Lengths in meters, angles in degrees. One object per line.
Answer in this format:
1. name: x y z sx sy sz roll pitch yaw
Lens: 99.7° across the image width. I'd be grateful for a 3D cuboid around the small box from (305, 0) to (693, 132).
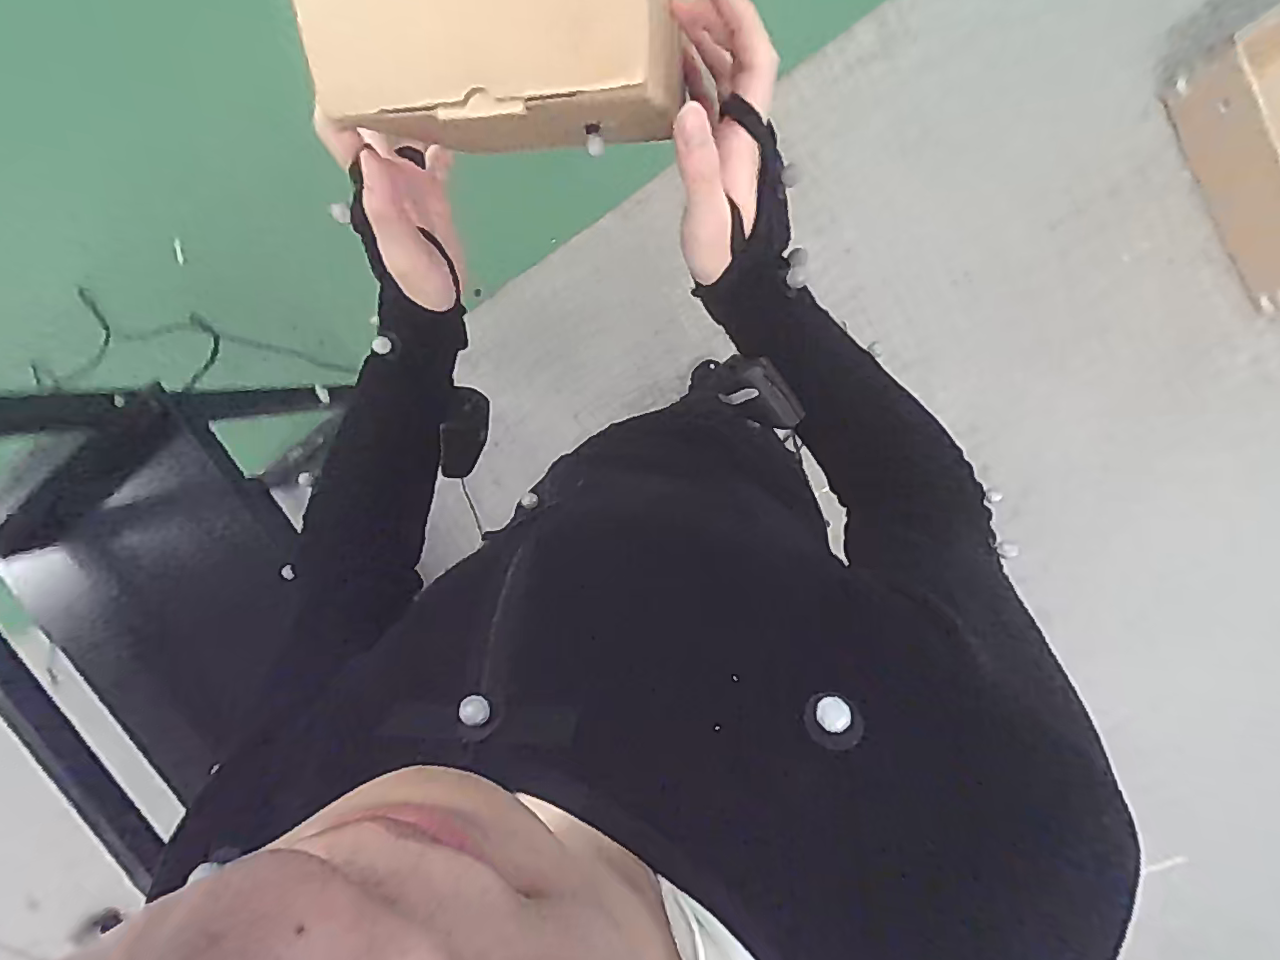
1. small box: -0.060 -0.295 0.286 0.168 0.176 0.179 3 116 9
